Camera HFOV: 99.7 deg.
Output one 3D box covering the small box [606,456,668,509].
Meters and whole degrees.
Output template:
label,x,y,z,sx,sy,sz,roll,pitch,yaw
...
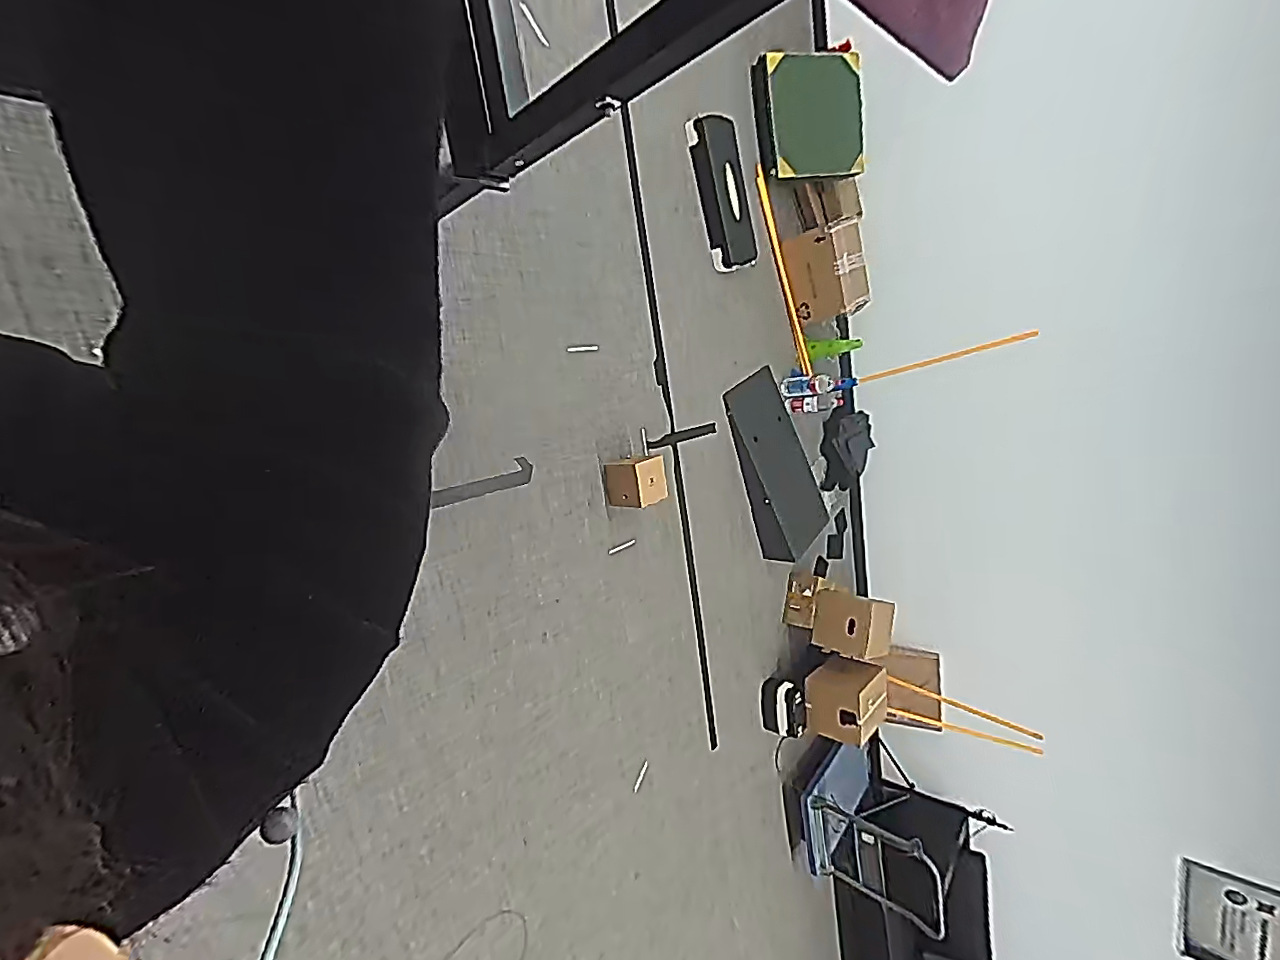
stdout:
label,x,y,z,sx,sy,sz,roll,pitch,yaw
small box,-0.014,0.006,2.133,0.168,0.176,0.179,-20,106,-45
